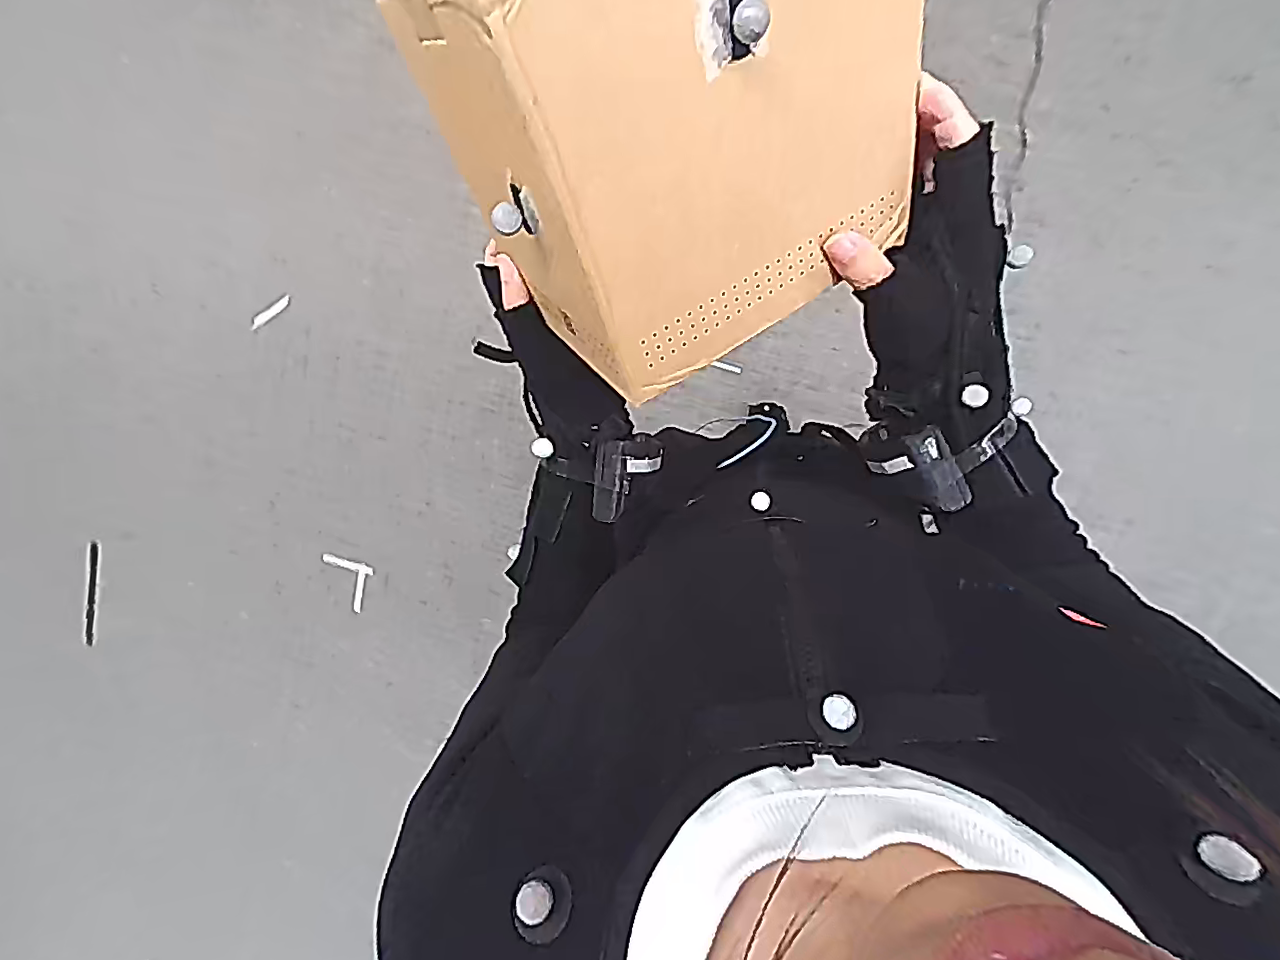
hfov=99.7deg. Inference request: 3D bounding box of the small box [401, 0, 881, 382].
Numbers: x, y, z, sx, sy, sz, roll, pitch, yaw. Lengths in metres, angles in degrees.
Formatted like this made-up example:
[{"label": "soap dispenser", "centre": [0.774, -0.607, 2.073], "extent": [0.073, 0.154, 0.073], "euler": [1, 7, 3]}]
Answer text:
[{"label": "small box", "centre": [0.009, -0.182, 0.289], "extent": [0.179, 0.168, 0.176], "euler": [-32, 135, -9]}]
